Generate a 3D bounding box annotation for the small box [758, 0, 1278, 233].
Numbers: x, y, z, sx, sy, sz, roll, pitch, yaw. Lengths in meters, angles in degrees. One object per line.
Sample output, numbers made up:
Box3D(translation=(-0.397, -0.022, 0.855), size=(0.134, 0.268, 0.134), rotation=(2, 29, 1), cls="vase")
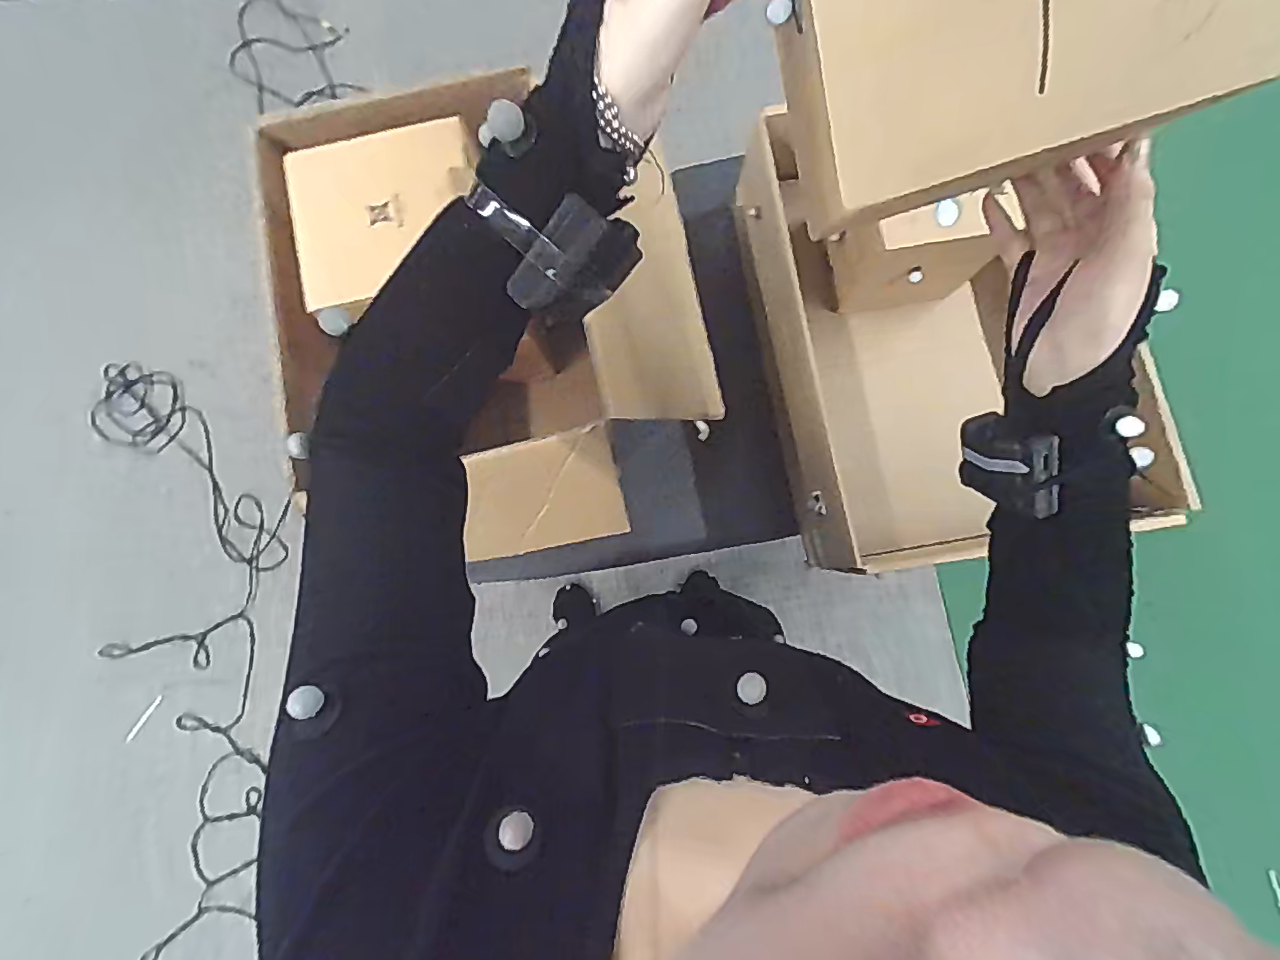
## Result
Box3D(translation=(0.155, -0.242, 0.275), size=(0.168, 0.176, 0.179), rotation=(-11, 109, 16), cls="small box")
